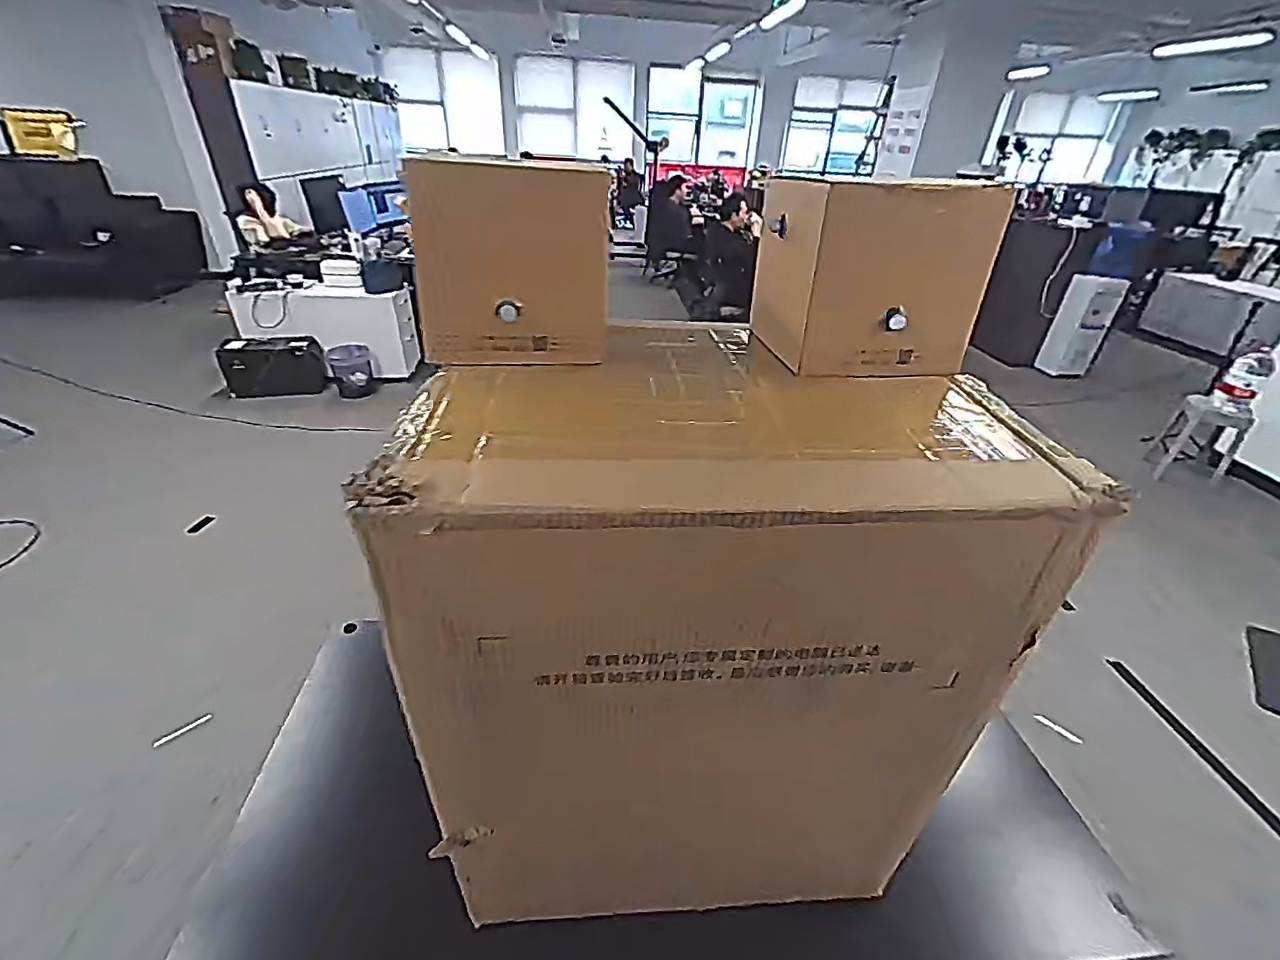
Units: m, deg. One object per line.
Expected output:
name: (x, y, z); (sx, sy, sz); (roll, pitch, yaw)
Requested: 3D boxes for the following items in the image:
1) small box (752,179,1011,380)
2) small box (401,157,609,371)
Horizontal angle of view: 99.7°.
small box: (0.223, -0.211, 0.559); (0.168, 0.176, 0.179); (-2, 31, -5)
small box: (-0.127, -0.218, 0.542); (0.168, 0.176, 0.179); (-3, 32, -11)
